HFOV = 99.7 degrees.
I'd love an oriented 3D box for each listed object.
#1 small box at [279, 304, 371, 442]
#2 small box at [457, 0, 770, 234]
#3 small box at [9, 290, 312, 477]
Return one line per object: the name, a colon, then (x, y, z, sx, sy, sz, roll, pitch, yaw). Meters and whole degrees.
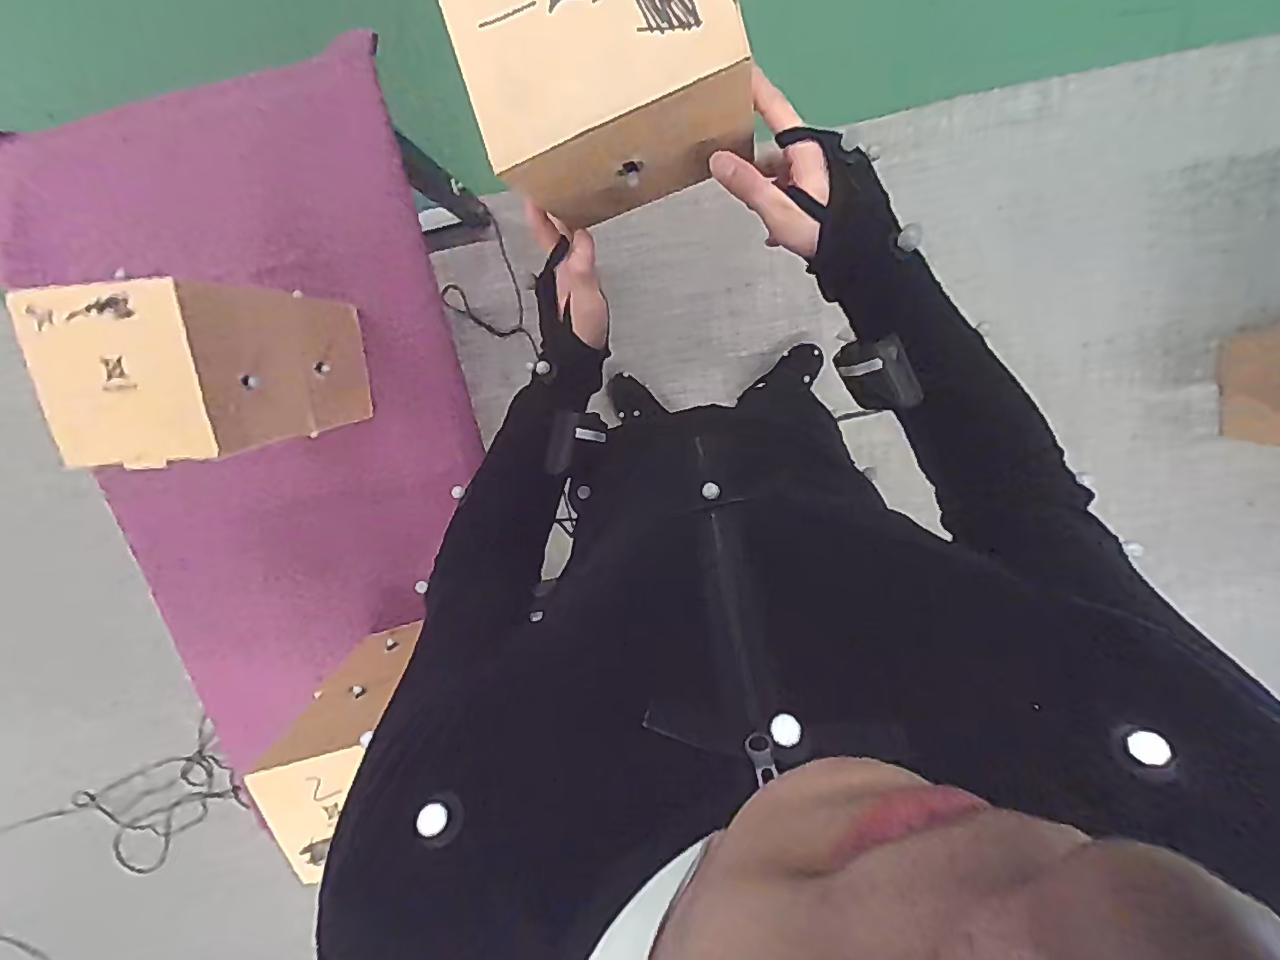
small box: (-0.505, -0.154, 0.764, 0.168, 0.176, 0.179, -1, 104, 1)
small box: (-0.009, -0.310, 0.404, 0.179, 0.176, 0.168, -14, 98, 16)
small box: (-0.506, -0.113, 0.606, 0.168, 0.176, 0.179, -4, 106, 1)
